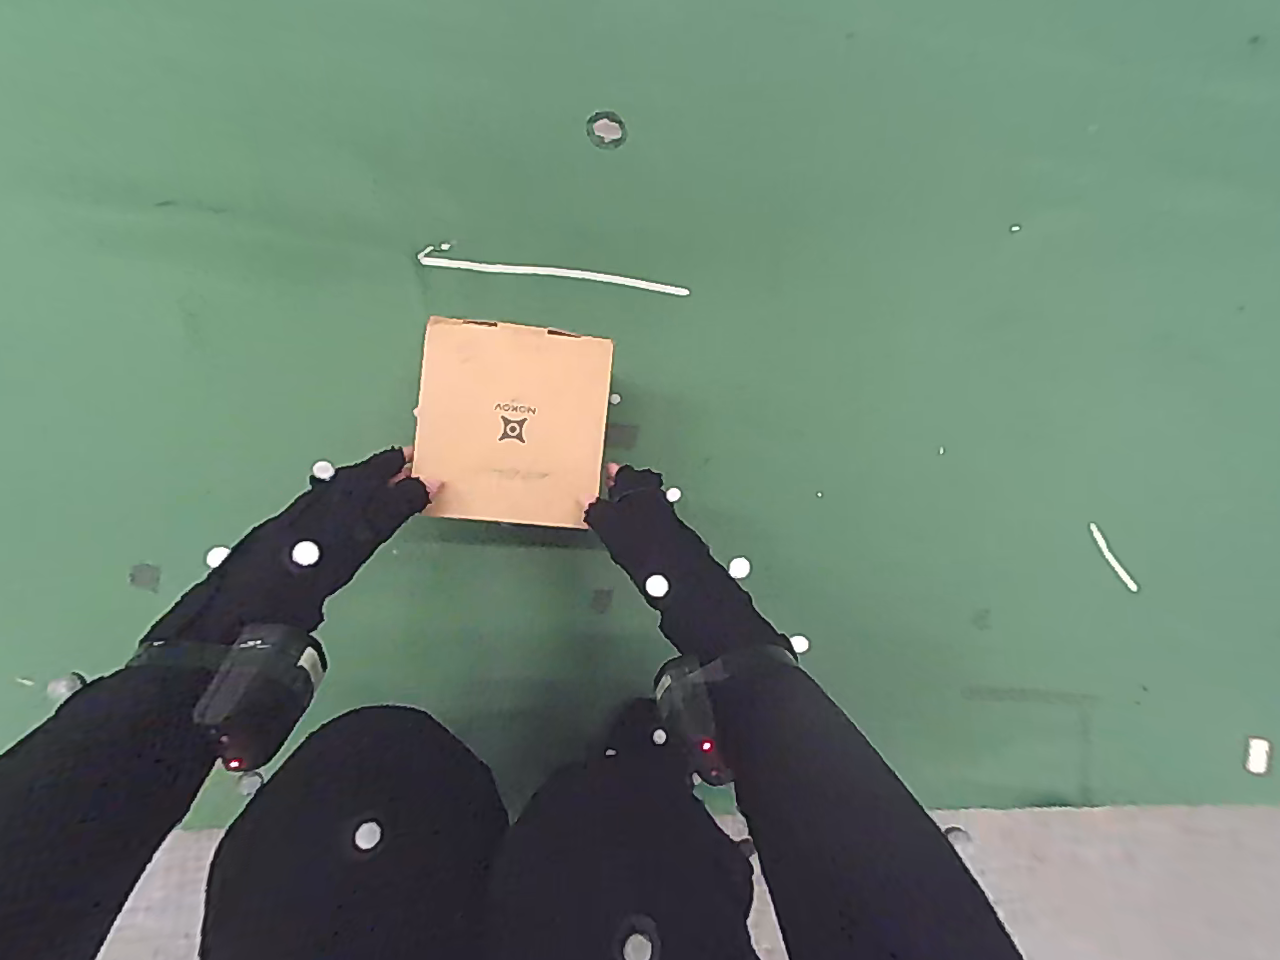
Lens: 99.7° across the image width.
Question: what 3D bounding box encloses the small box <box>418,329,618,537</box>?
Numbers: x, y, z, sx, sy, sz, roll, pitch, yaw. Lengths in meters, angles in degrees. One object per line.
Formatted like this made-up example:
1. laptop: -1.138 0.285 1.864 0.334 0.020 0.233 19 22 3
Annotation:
1. small box: -0.118 -0.041 0.566 0.168 0.176 0.179 5 90 -6
